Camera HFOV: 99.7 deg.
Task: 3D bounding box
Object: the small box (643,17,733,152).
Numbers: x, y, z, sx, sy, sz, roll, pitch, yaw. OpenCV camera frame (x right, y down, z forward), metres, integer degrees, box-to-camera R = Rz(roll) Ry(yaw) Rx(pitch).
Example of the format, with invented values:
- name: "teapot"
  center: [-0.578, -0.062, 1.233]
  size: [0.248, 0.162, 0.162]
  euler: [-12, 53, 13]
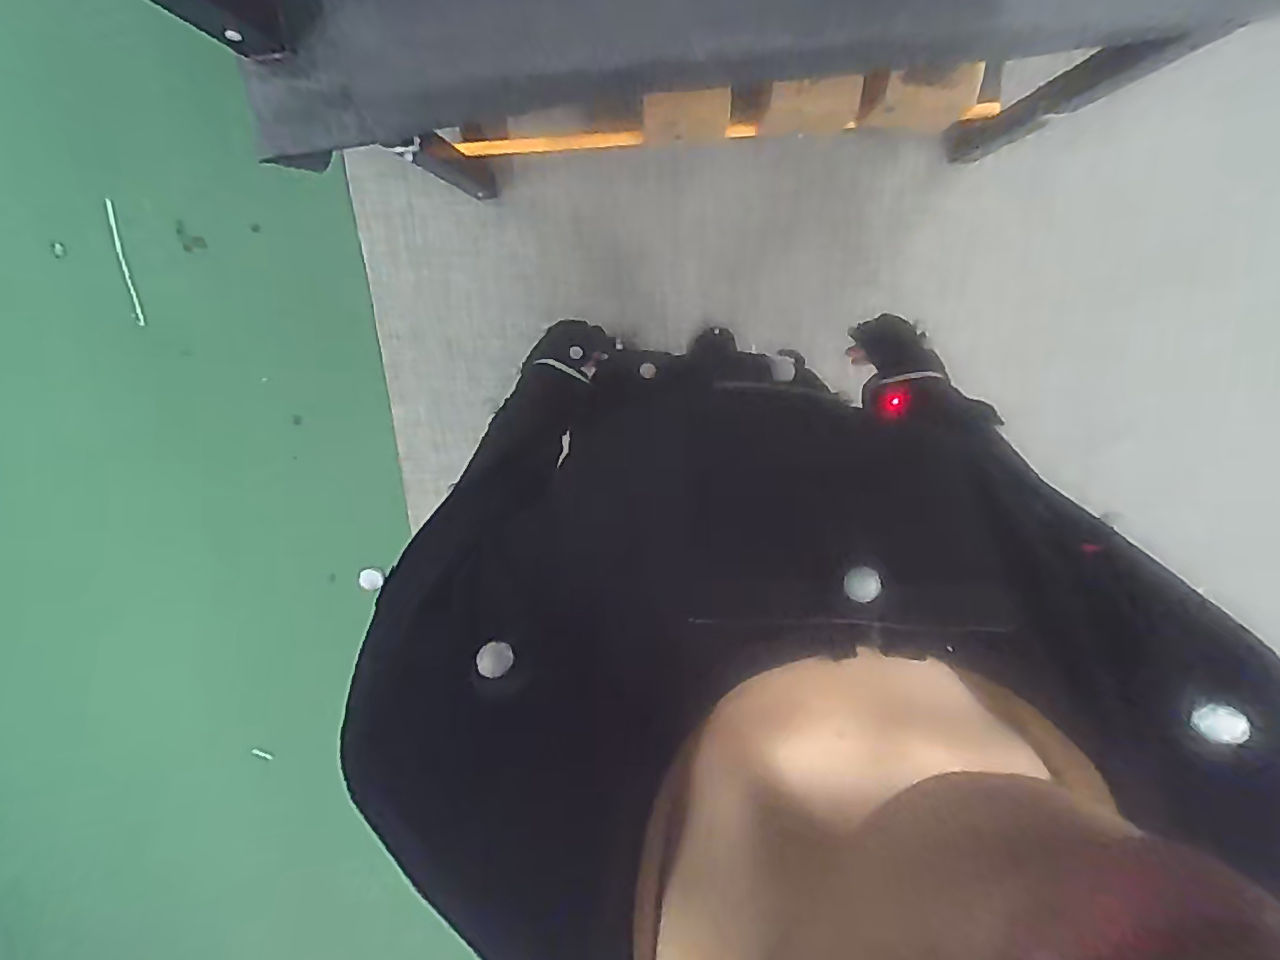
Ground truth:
- name: "small box"
  center: [0.090, -0.775, 1.076]
  size: [0.168, 0.176, 0.179]
  euler: [0, 109, 3]
